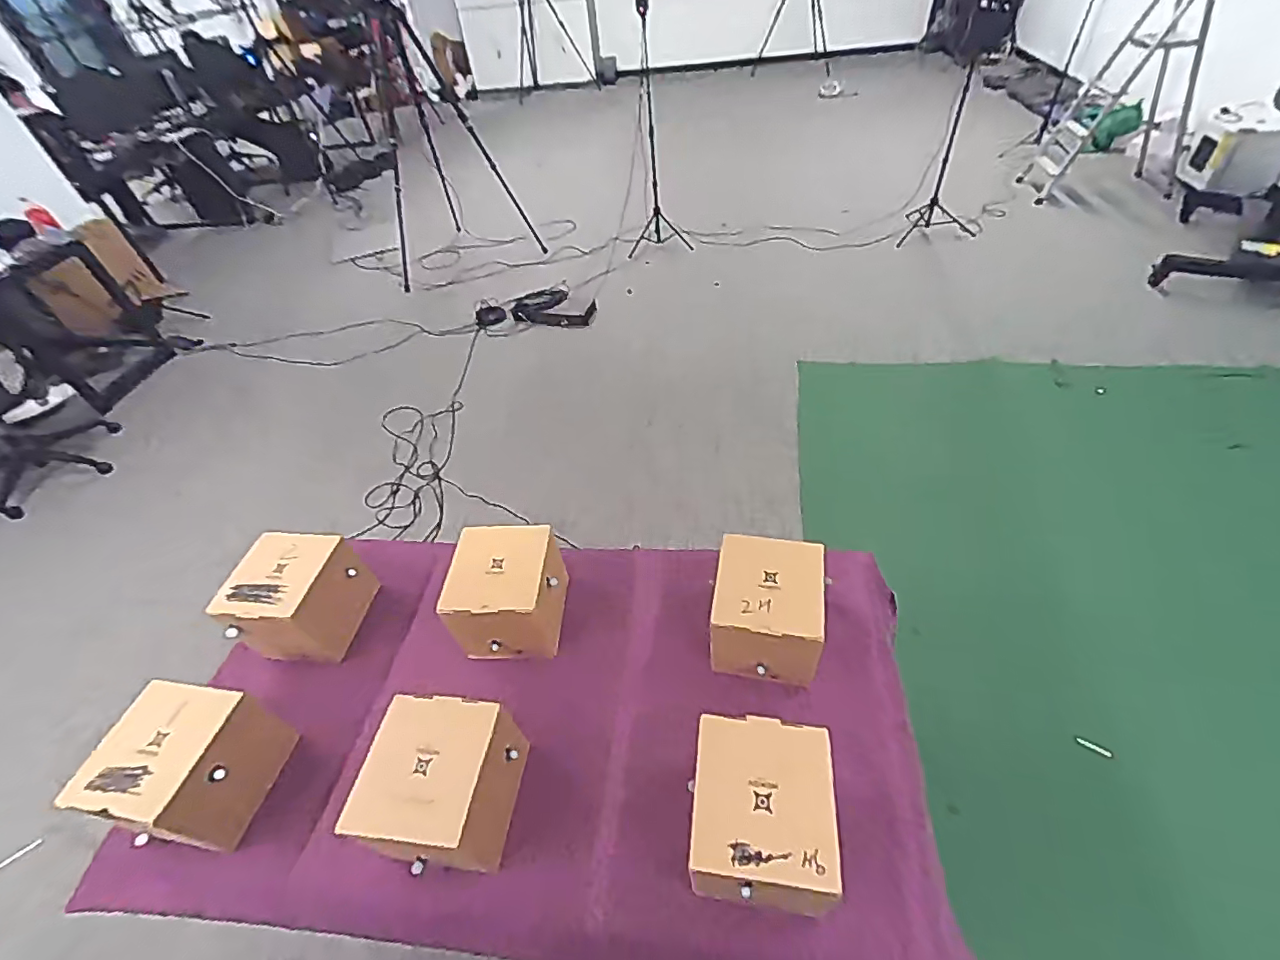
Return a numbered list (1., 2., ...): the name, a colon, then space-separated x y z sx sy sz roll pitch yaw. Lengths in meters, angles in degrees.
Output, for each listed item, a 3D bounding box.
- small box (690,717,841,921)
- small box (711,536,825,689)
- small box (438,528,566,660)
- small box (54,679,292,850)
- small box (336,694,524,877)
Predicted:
1. small box: 0.156 0.437 0.701 0.168 0.176 0.179 2 45 11
2. small box: 0.212 0.220 0.903 0.168 0.176 0.179 5 48 14
3. small box: -0.235 0.204 0.976 0.168 0.176 0.179 -1 48 5
4. small box: -0.673 0.427 0.810 0.168 0.176 0.179 4 45 10
5. small box: -0.276 0.430 0.764 0.168 0.176 0.179 2 46 10
